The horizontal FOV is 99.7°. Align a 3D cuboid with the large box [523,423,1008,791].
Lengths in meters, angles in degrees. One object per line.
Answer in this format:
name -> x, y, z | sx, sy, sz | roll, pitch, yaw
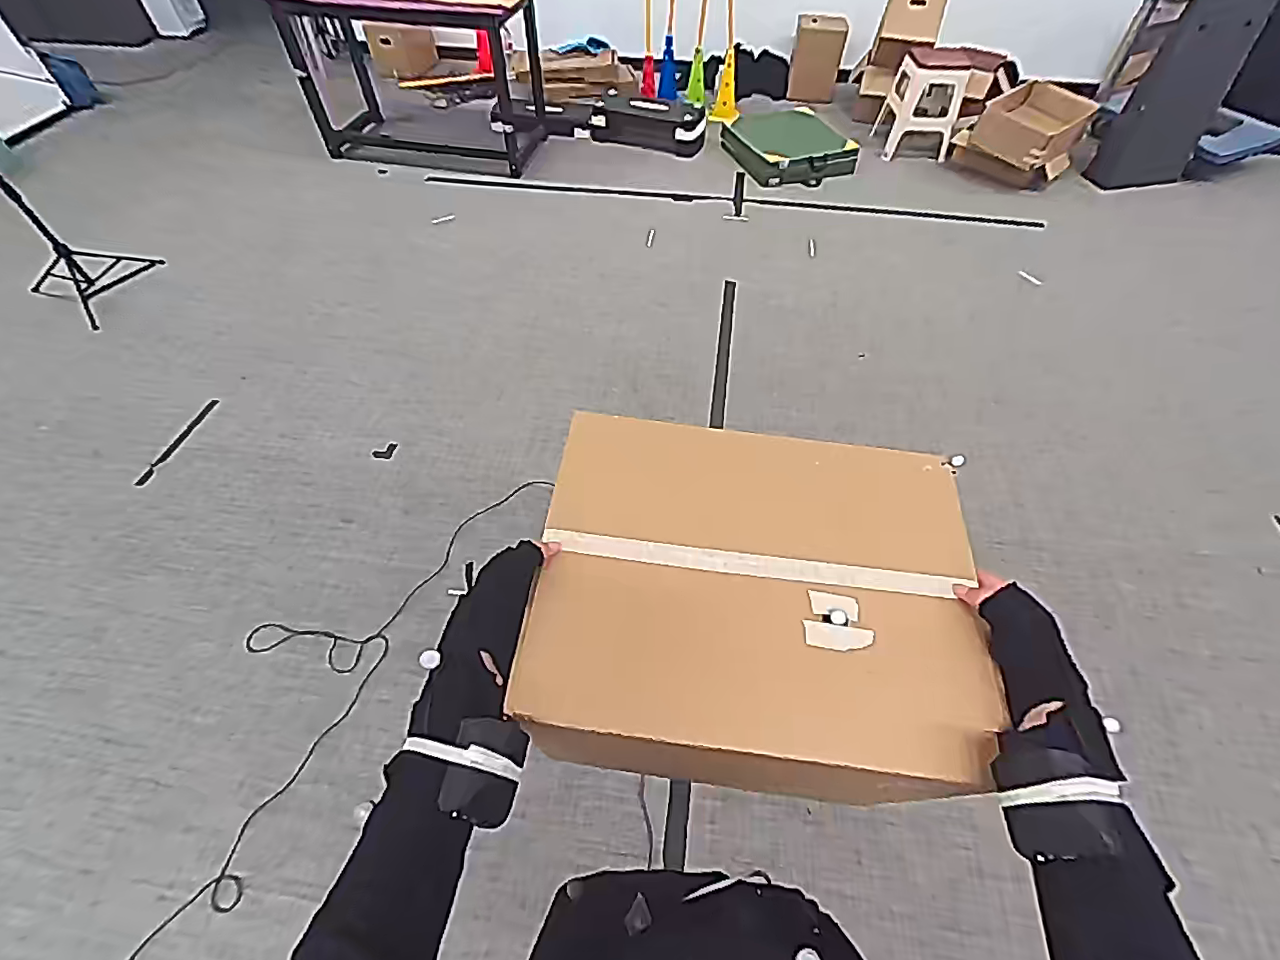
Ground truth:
large box -> 0.106, 0.163, 0.639 | 0.408, 0.320, 0.320 | 7, 58, 1
